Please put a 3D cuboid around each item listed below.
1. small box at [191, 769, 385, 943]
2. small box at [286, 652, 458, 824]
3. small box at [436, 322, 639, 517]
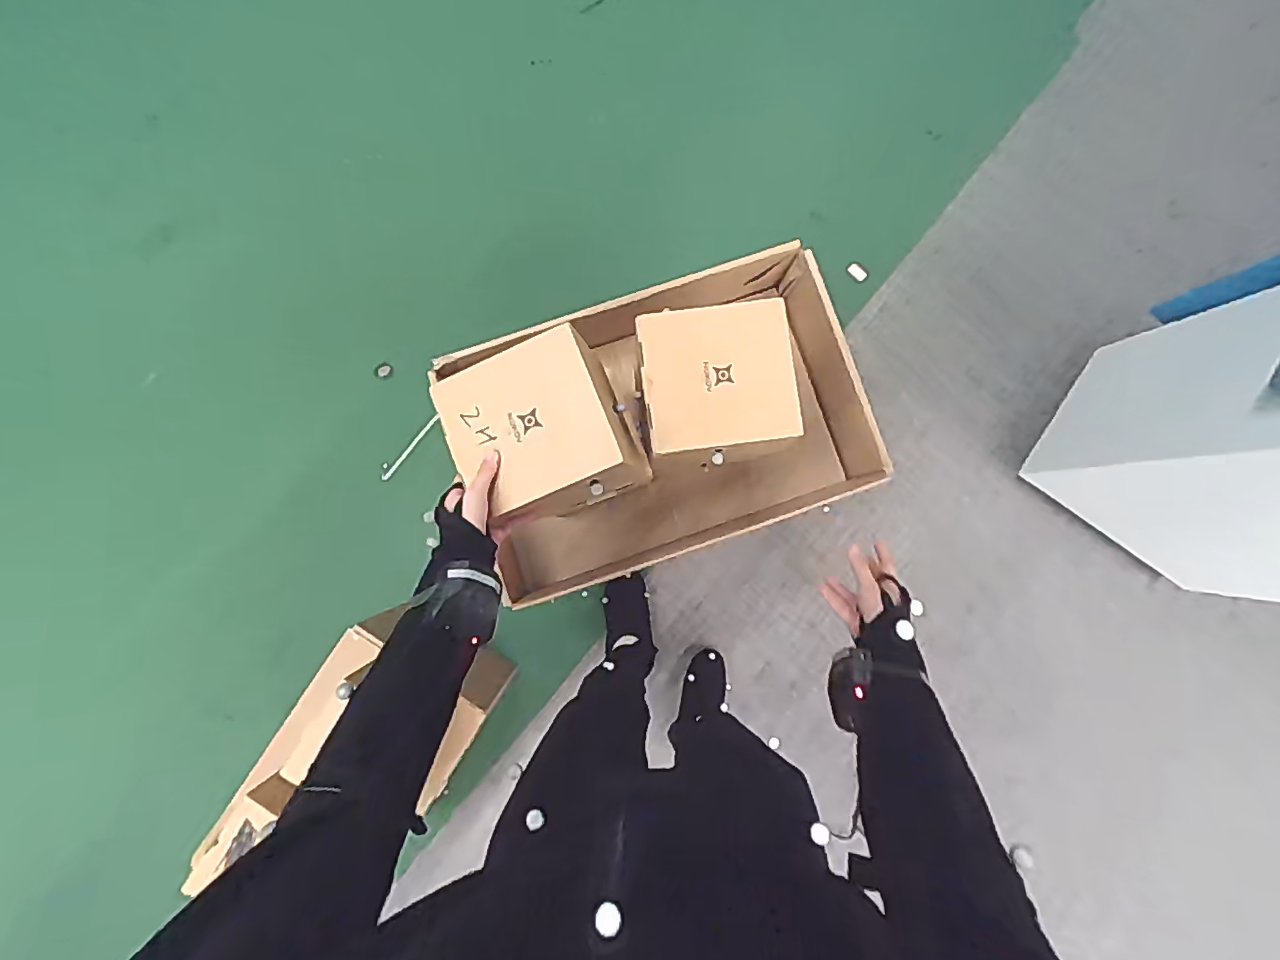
[{"bbox_3d":[-0.574,0.598,0.909,0.179,0.176,0.168,33,86,1],"label":"small box"},{"bbox_3d":[-0.441,0.426,0.924,0.168,0.176,0.179,33,86,0],"label":"small box"},{"bbox_3d":[-0.109,-0.061,0.662,0.179,0.176,0.168,-22,82,6],"label":"small box"}]
